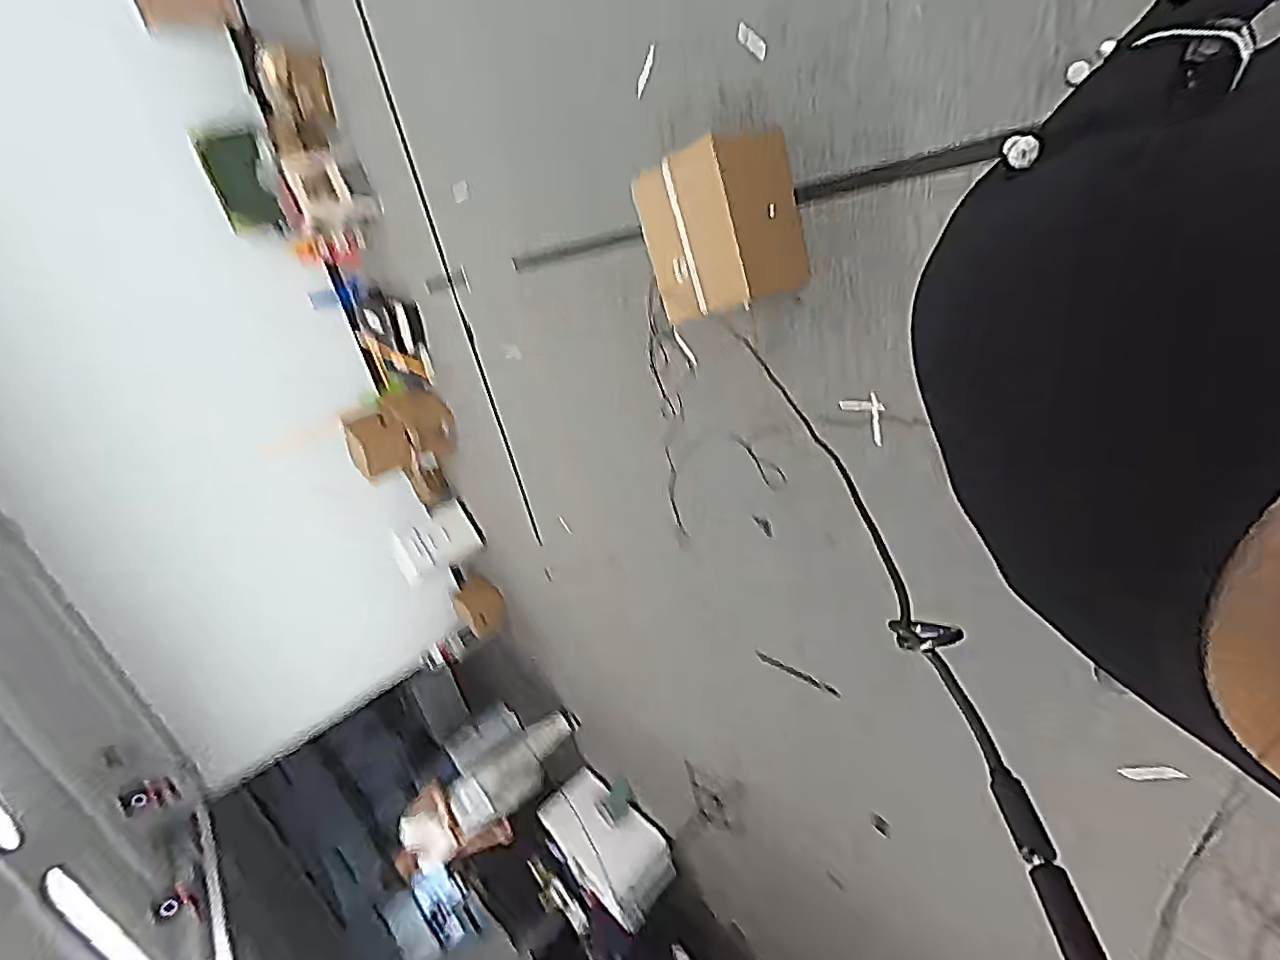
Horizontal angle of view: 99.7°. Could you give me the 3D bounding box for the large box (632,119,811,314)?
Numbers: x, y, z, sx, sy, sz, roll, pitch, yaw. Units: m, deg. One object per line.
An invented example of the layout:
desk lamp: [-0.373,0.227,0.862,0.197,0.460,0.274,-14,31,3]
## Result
large box: [0.239,-0.734,1.533,0.320,0.320,0.408,3,117,50]
